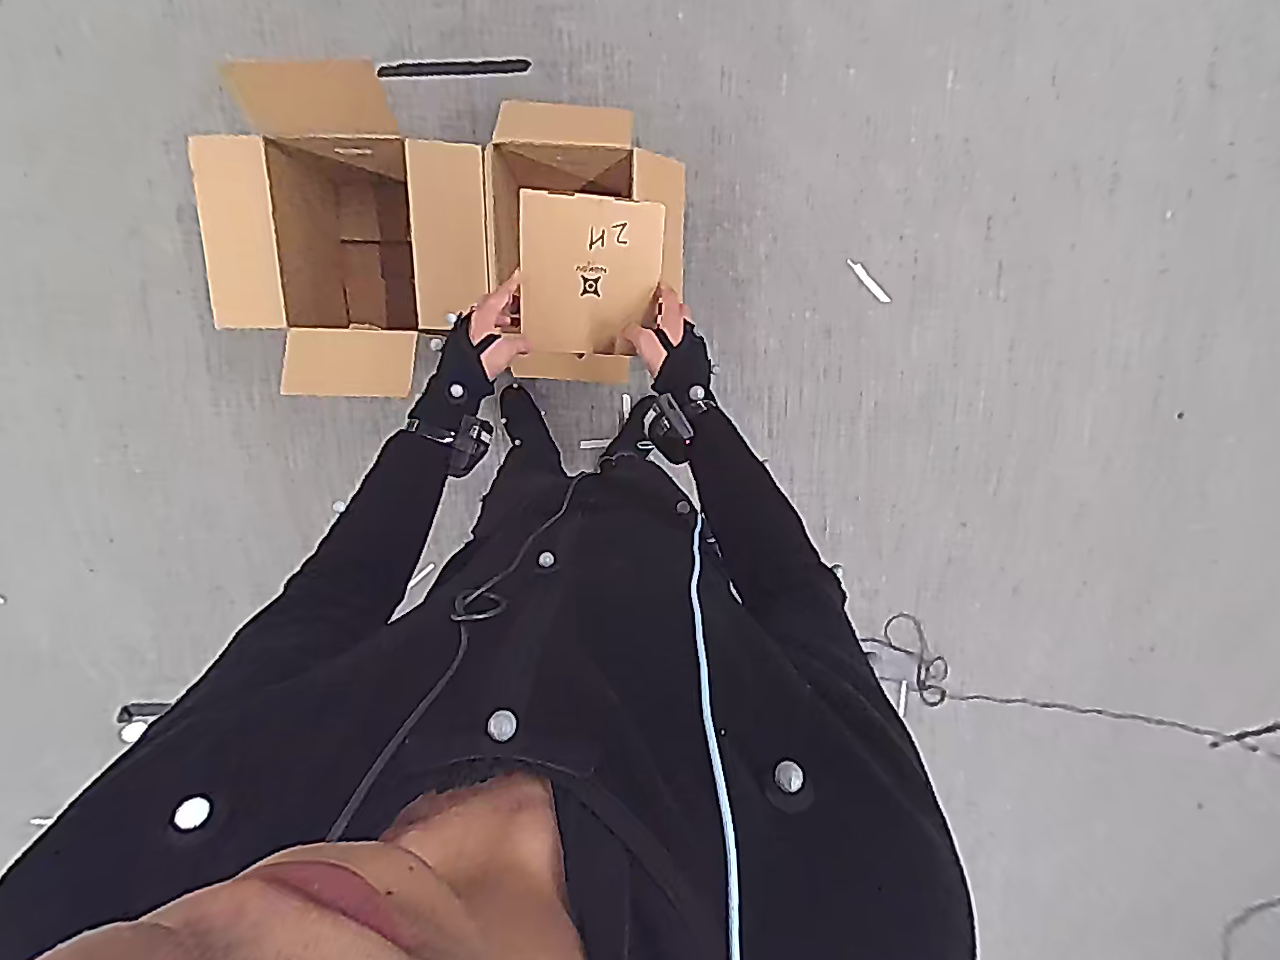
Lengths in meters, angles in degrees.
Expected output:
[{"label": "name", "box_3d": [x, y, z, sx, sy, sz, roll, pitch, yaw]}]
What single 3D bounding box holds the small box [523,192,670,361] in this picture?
[{"label": "small box", "box_3d": [-0.064, -0.258, 0.705, 0.168, 0.176, 0.179, 1, 109, -10]}]
